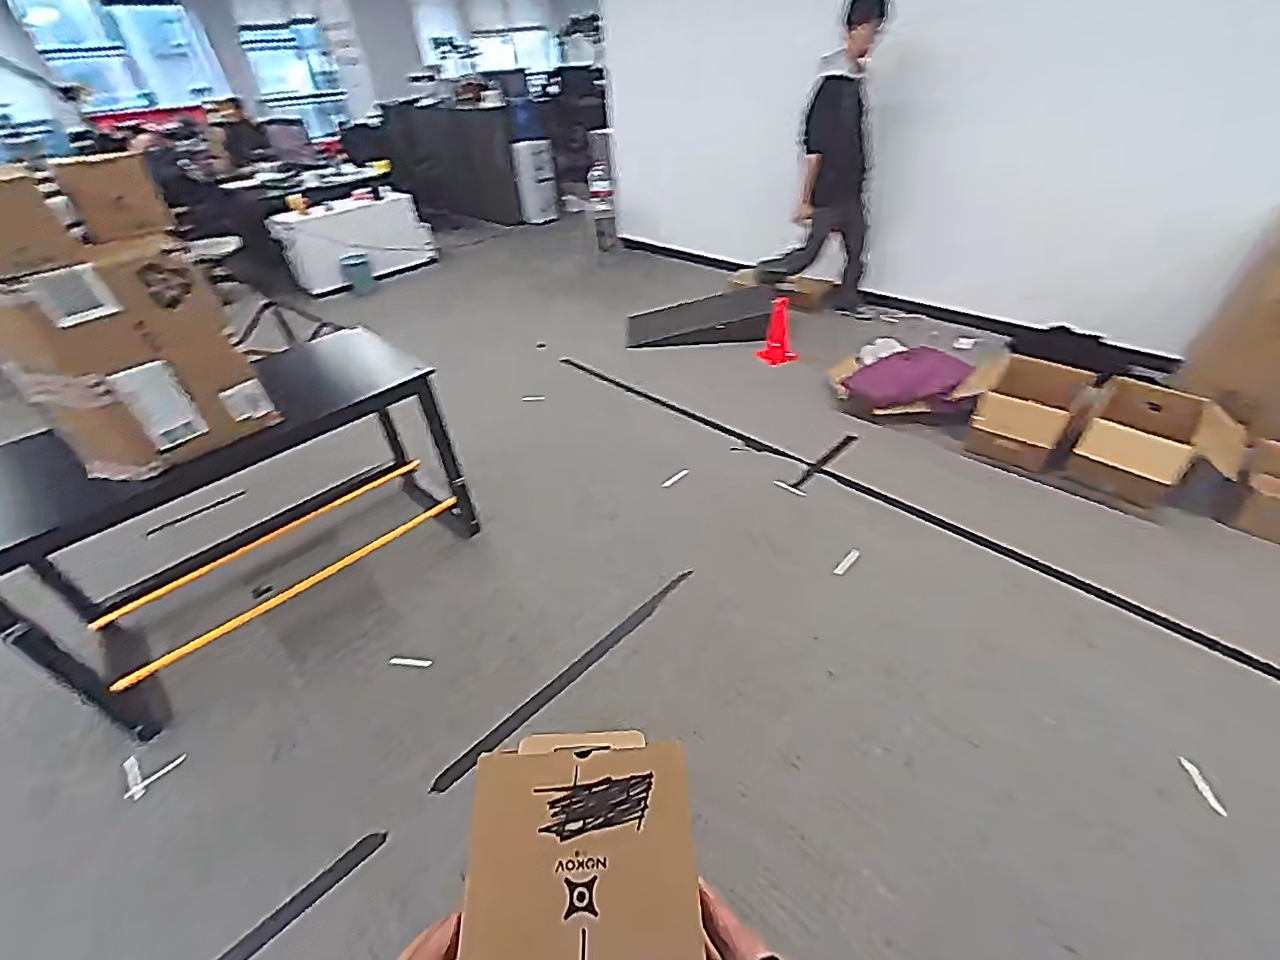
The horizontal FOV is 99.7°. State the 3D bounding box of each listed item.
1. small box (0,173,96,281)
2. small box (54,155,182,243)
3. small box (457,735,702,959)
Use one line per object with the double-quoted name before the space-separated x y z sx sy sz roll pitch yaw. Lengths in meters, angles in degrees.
"small box" -1.294 -0.526 1.121 0.179 0.176 0.168 27 46 32
"small box" -1.305 -0.707 1.360 0.179 0.176 0.168 27 46 33
"small box" -0.048 0.332 0.451 0.168 0.176 0.179 -3 51 -5
